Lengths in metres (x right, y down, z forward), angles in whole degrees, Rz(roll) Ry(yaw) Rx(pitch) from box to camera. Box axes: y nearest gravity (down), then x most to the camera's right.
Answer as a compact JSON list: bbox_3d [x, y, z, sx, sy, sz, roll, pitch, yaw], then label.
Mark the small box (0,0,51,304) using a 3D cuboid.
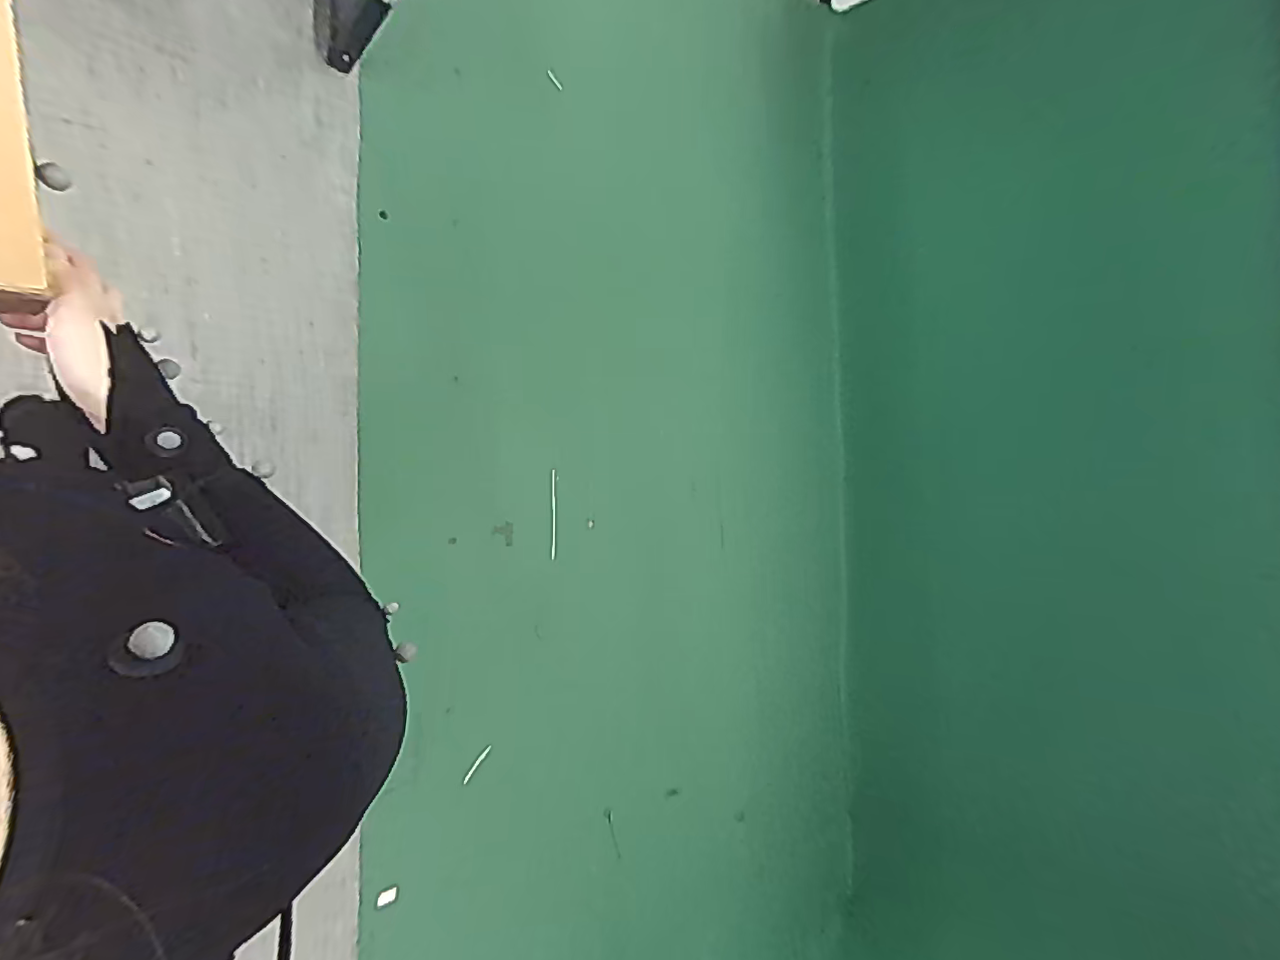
[{"bbox_3d":[-0.464,-0.204,0.299,0.168,0.176,0.179,-10,104,-49],"label":"small box"}]
